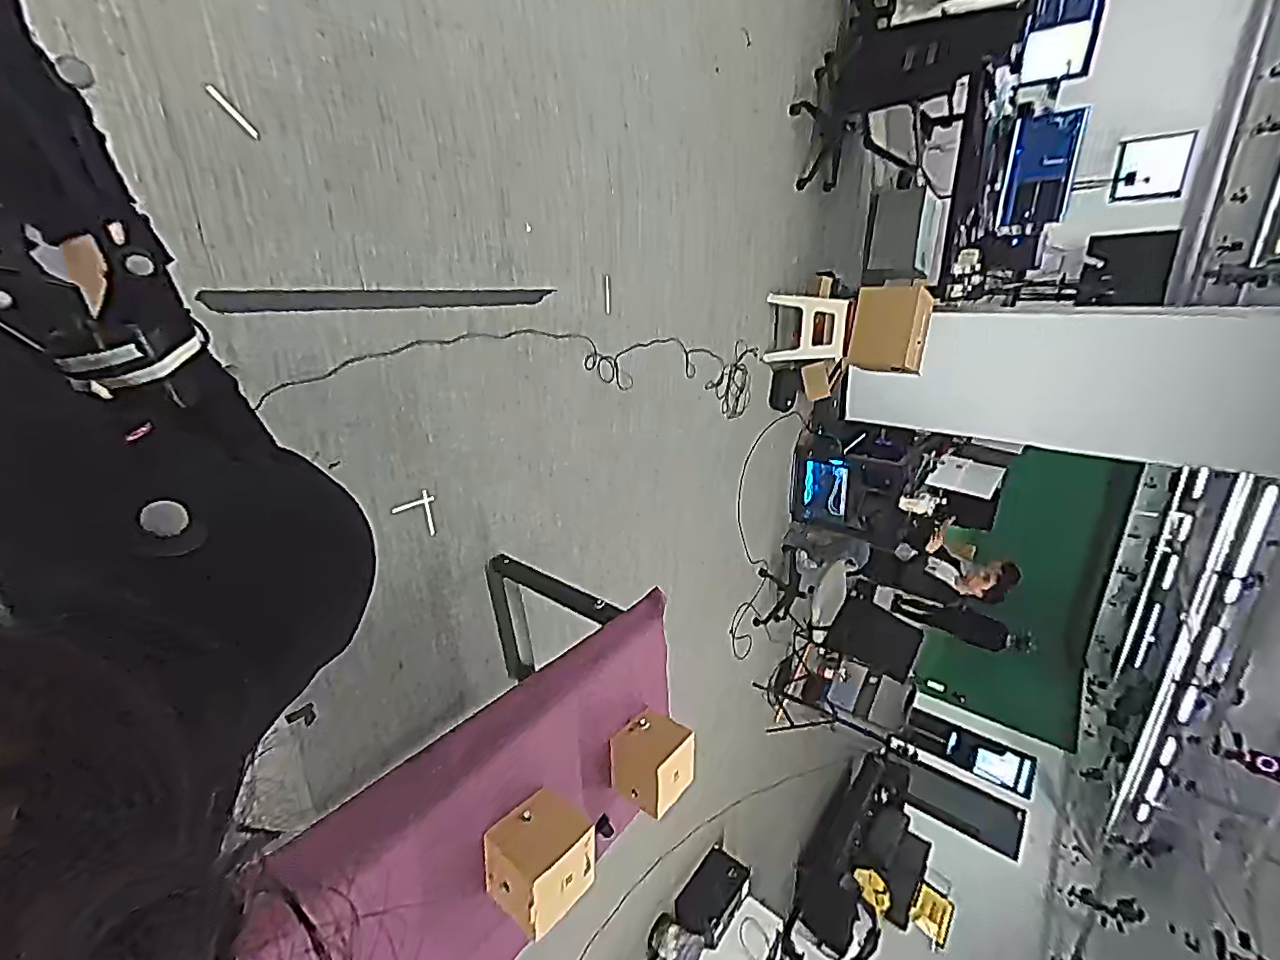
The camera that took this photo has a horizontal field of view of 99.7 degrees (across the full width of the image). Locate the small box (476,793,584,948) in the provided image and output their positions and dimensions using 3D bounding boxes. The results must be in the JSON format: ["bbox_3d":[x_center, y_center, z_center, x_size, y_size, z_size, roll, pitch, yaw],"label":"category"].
[{"bbox_3d":[-0.242,0.837,1.180,0.179,0.176,0.168,-15,114,-48],"label":"small box"}]

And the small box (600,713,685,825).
[{"bbox_3d":[0.005,0.780,1.478,0.168,0.176,0.179,-22,117,-48],"label":"small box"}]
